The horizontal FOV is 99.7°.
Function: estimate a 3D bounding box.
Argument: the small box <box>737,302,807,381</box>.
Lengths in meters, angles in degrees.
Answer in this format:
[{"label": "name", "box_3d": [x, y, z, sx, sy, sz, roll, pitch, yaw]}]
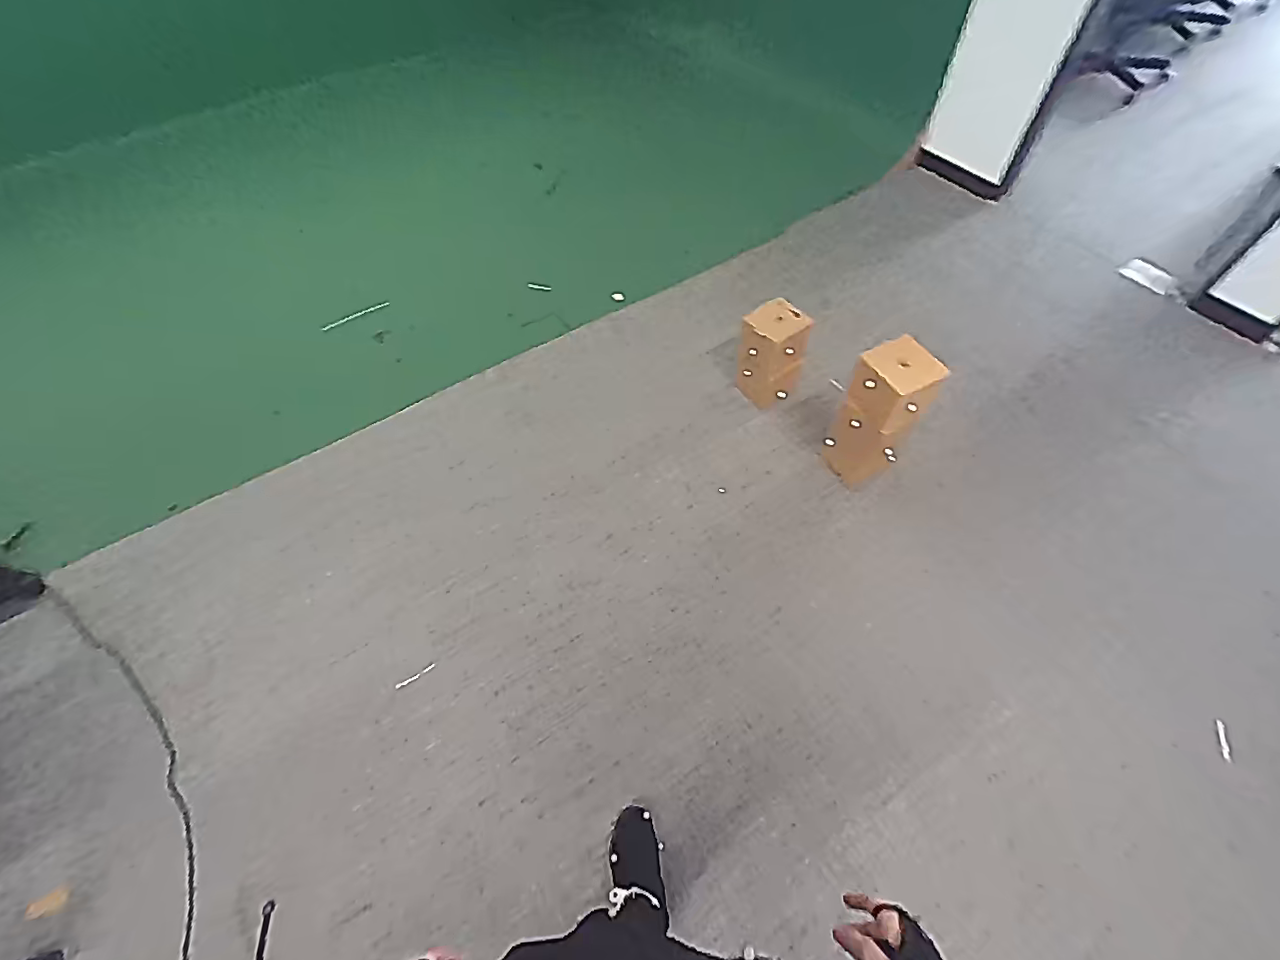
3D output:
[{"label": "small box", "box_3d": [0.452, -0.479, 1.884, 0.179, 0.176, 0.168, -33, 62, -16]}]

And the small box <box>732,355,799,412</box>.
[{"label": "small box", "box_3d": [0.461, -0.387, 2.020, 0.168, 0.176, 0.179, -31, 62, -16]}]

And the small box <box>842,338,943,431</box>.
[{"label": "small box", "box_3d": [0.708, -0.263, 1.537, 0.168, 0.176, 0.179, -25, 59, -12]}]

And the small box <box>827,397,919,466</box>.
[{"label": "small box", "box_3d": [0.711, -0.176, 1.674, 0.168, 0.176, 0.179, -29, 61, -14]}]
